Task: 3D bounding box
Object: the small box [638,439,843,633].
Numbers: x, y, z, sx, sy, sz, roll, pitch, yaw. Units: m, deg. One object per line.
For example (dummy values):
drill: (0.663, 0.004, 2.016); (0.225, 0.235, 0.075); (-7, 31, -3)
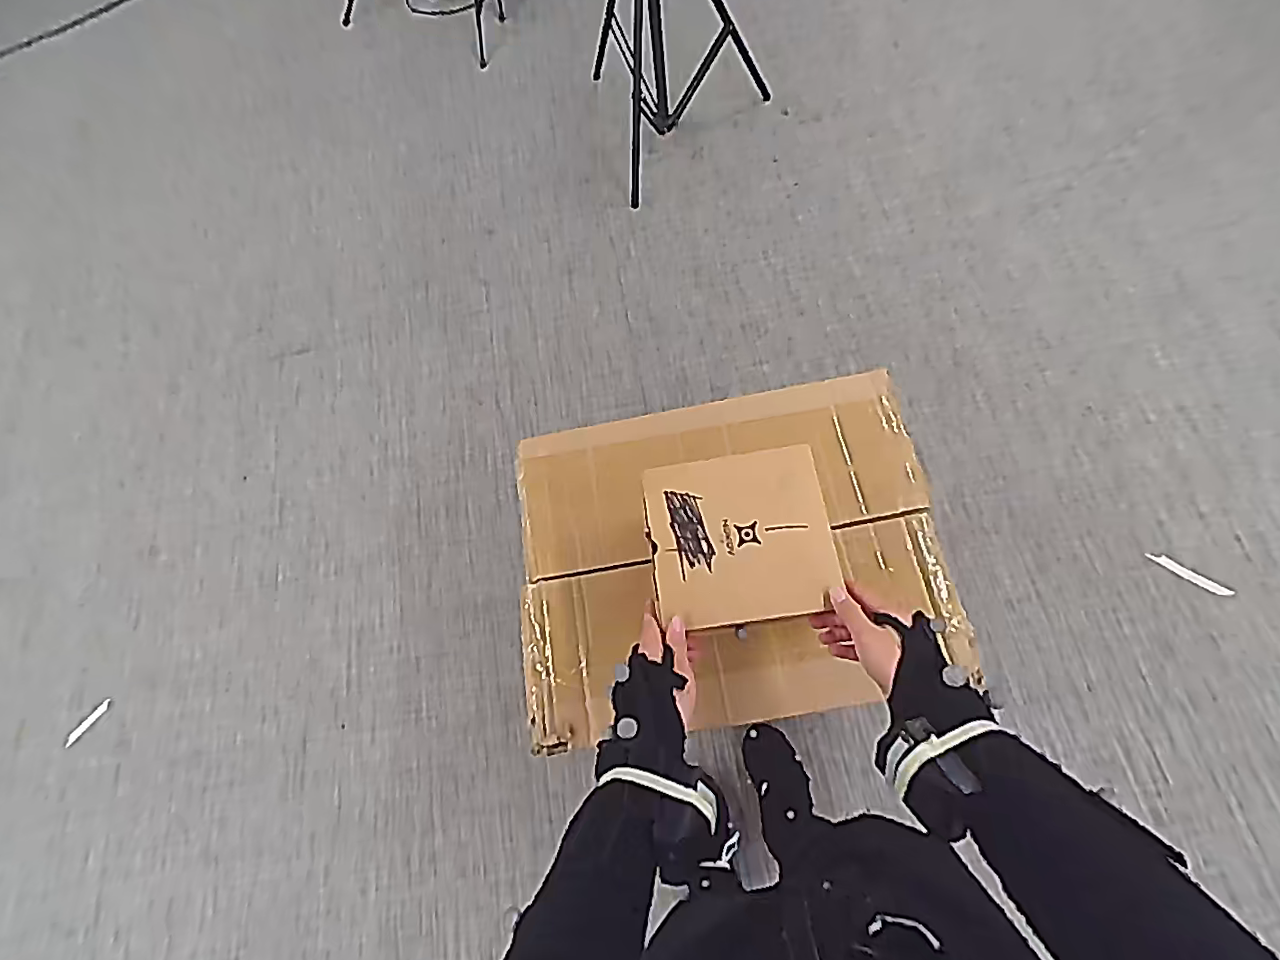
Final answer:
small box: (0.102, 0.073, 0.600); (0.179, 0.176, 0.168); (-9, 71, 4)
